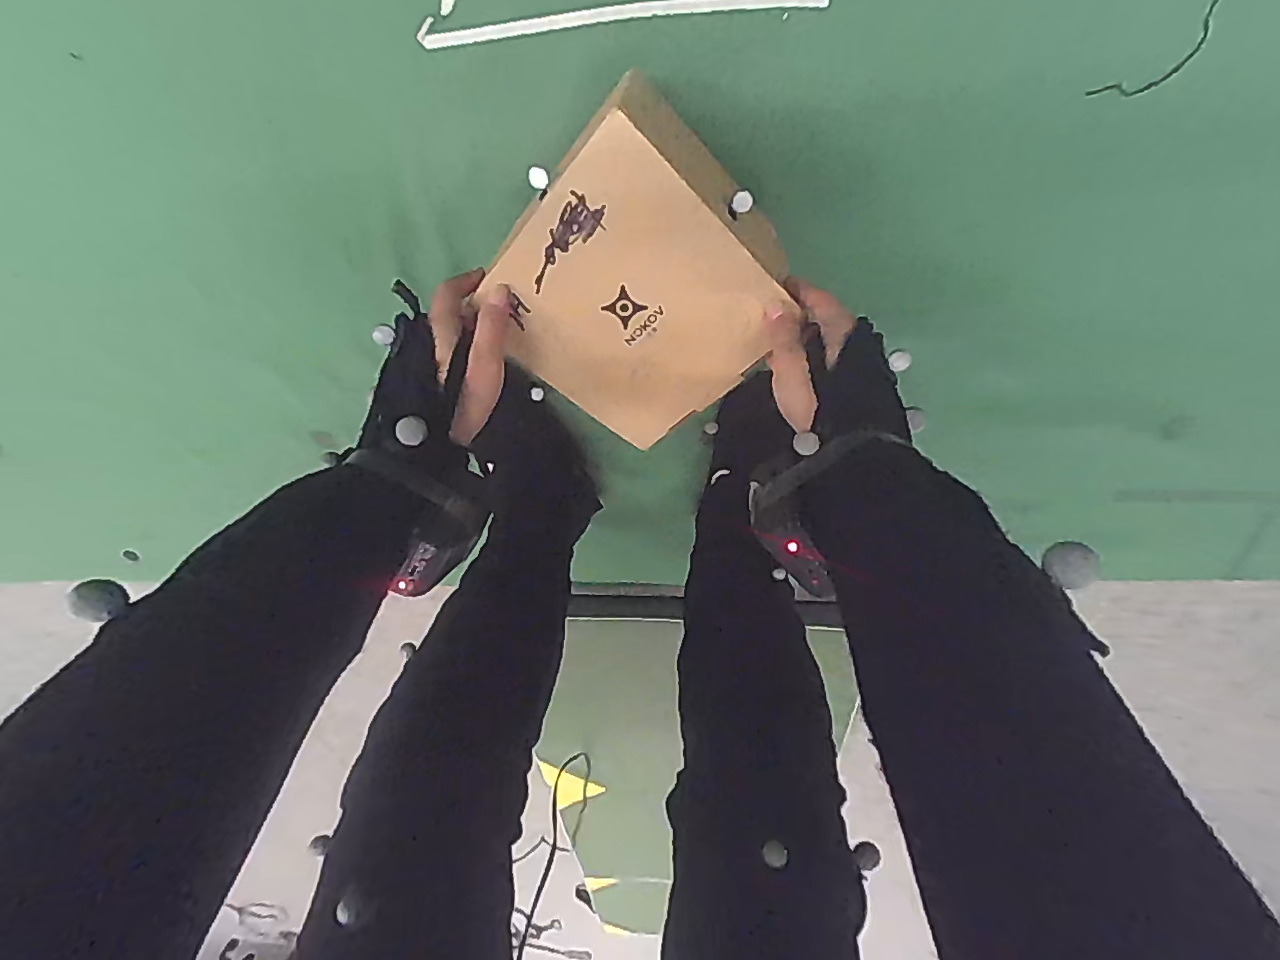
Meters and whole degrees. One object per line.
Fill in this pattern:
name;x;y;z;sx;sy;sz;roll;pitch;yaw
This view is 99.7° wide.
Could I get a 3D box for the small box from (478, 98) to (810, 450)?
small box;0.007;-0.164;0.434;0.179;0.176;0.168;36;125;-25
